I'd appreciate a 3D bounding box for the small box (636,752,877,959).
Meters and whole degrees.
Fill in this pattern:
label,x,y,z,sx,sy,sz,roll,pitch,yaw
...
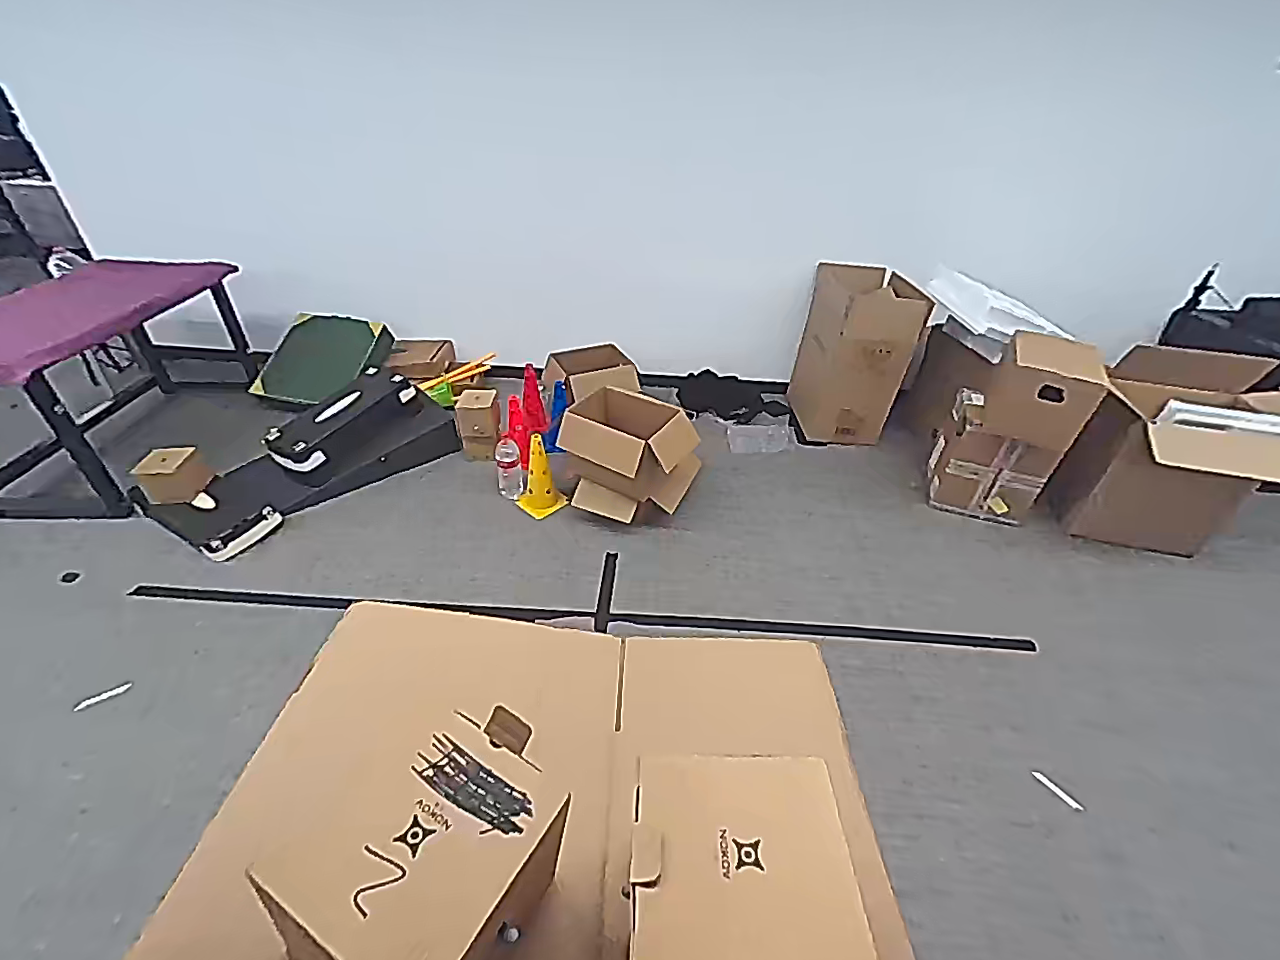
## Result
label,x,y,z,sx,sy,sz,roll,pitch,yaw
small box,0.087,0.373,0.492,0.179,0.176,0.168,0,33,2
